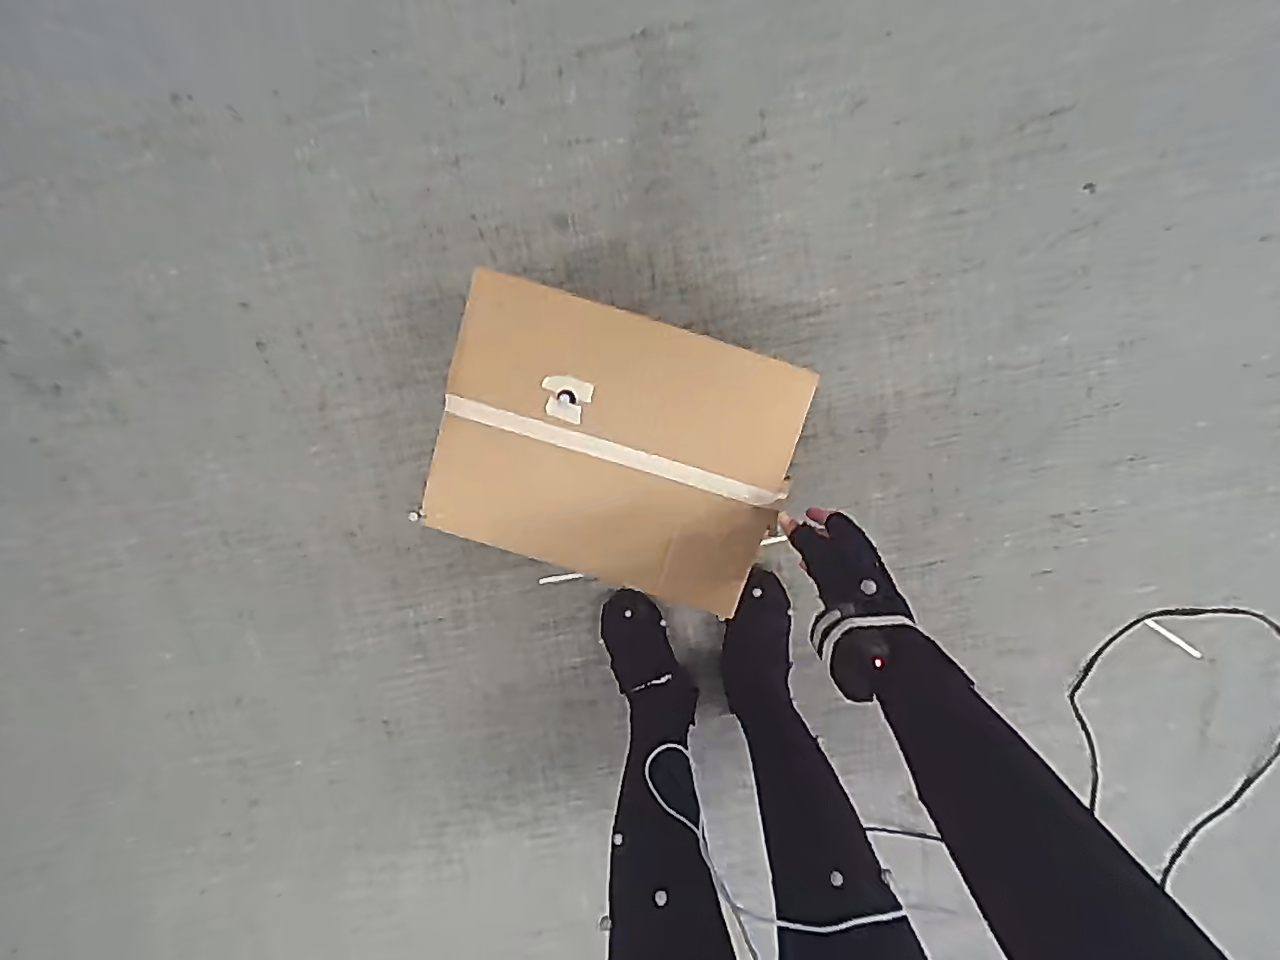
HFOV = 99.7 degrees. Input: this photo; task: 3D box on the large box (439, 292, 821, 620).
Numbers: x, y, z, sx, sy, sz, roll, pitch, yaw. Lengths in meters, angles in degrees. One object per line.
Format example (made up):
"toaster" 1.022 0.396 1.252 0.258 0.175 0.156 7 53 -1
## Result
"large box" -0.012 -0.048 0.788 0.408 0.320 0.320 17 101 0
